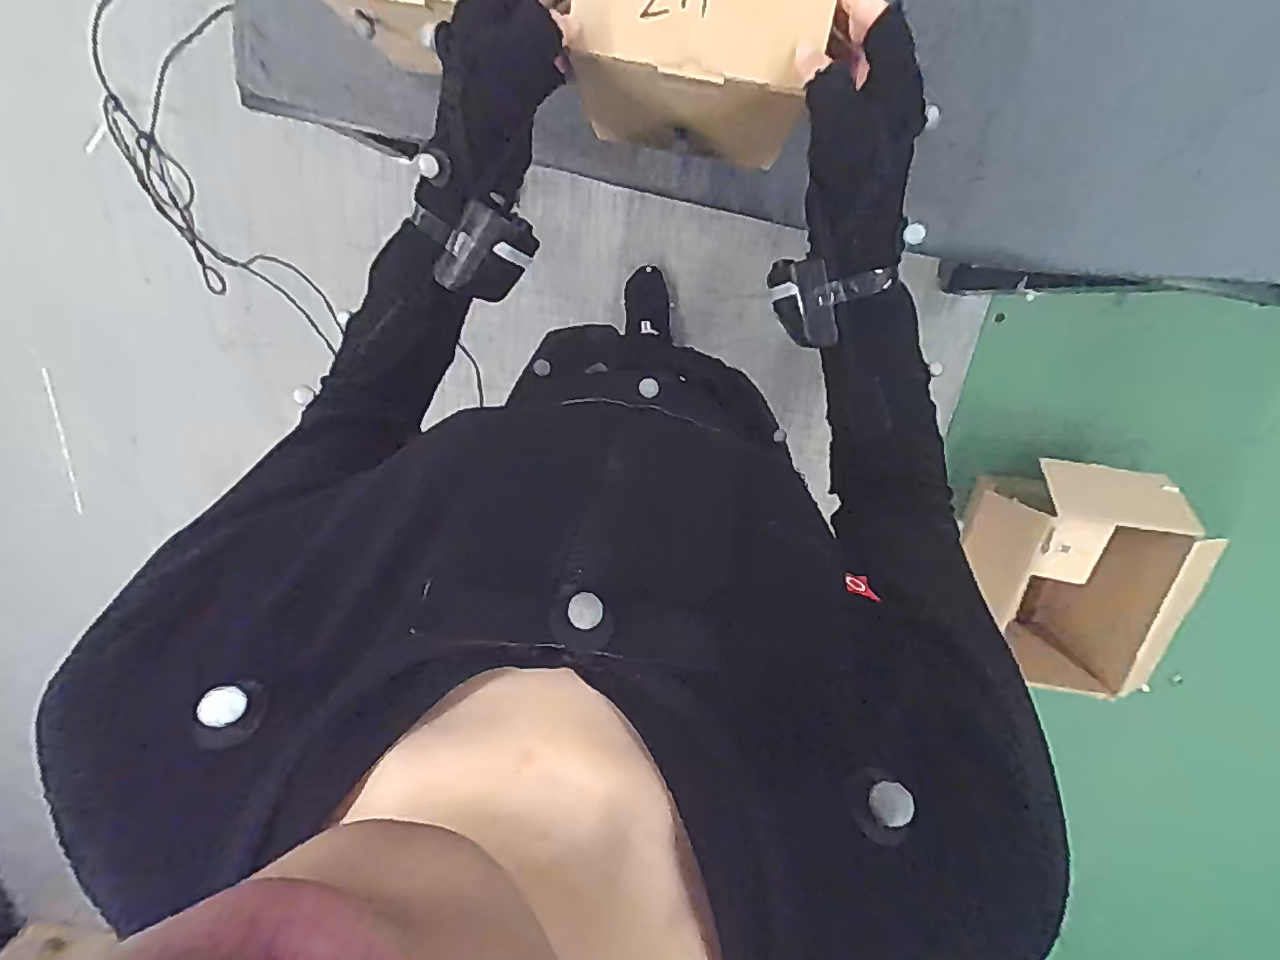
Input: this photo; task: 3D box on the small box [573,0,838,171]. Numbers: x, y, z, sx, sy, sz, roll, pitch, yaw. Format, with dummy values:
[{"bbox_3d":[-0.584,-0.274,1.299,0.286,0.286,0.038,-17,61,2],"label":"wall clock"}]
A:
[{"bbox_3d":[0.053,-0.365,0.409,0.168,0.176,0.179,10,106,0],"label":"small box"}]
